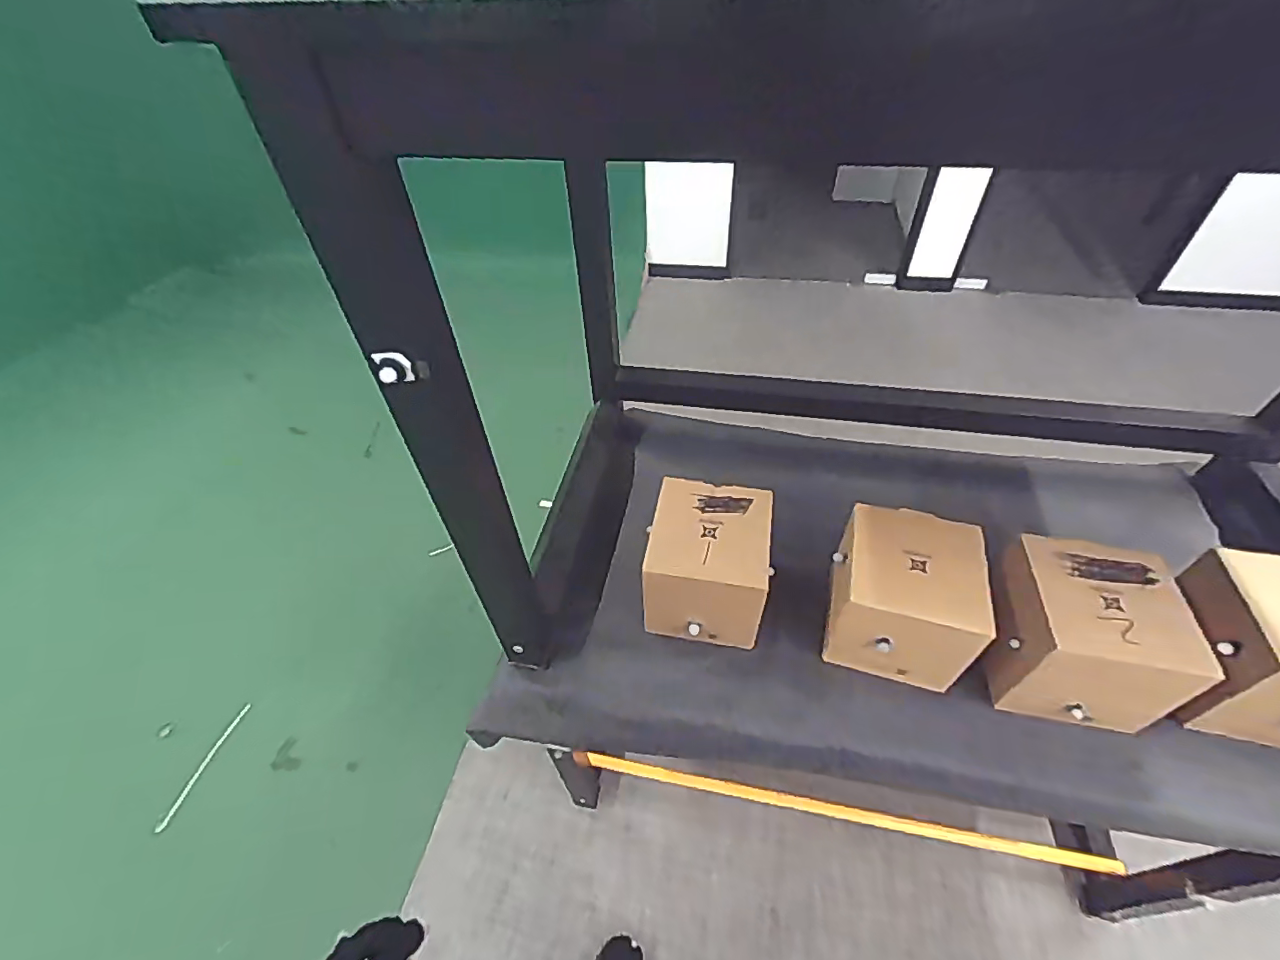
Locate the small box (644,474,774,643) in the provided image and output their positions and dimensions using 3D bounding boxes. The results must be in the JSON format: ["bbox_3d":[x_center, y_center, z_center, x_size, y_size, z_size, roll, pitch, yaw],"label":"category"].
[{"bbox_3d":[0.103,0.118,0.813,0.168,0.176,0.179,7,48,9],"label":"small box"}]

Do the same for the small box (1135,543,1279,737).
[{"bbox_3d":[0.796,0.210,0.687,0.168,0.176,0.179,9,47,11],"label":"small box"}]

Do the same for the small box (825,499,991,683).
[{"bbox_3d":[0.365,0.158,0.764,0.168,0.176,0.179,12,48,14],"label":"small box"}]
